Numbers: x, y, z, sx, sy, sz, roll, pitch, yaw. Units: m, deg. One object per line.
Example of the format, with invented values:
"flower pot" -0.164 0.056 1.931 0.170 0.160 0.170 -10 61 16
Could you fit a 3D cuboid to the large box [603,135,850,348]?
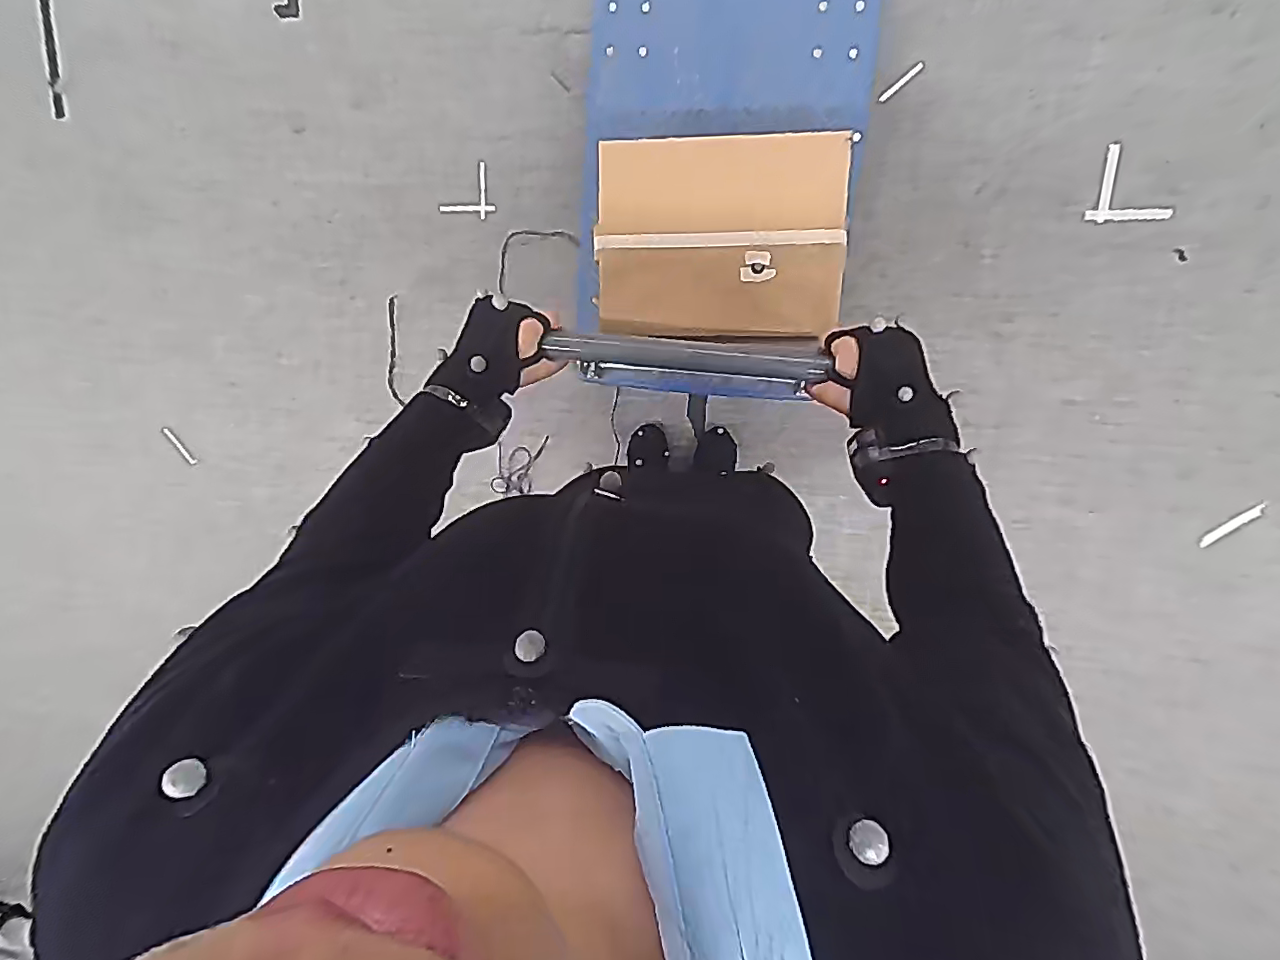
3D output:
"large box" 0.152 -0.426 1.049 0.408 0.320 0.320 2 102 6
